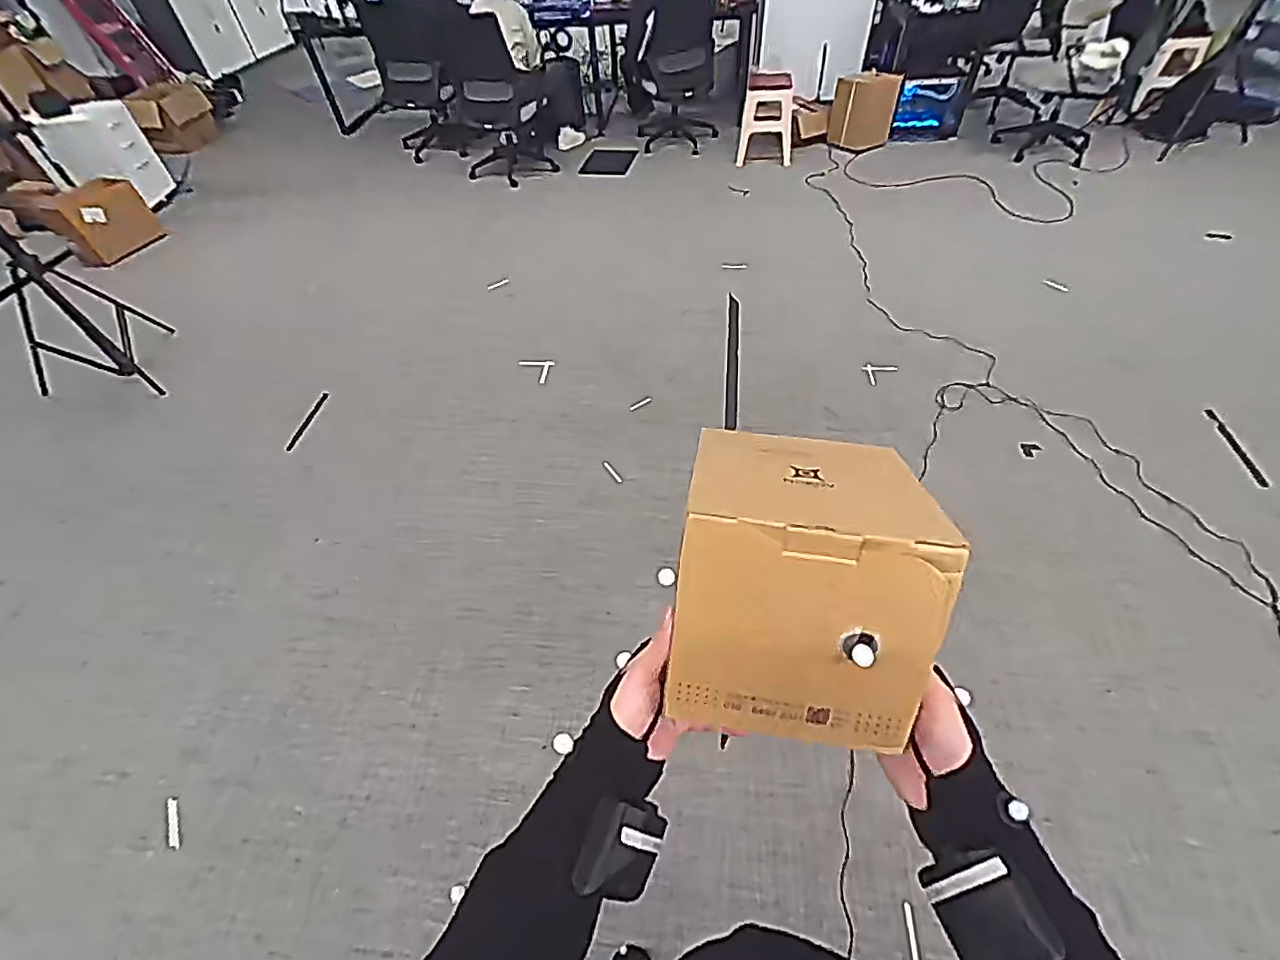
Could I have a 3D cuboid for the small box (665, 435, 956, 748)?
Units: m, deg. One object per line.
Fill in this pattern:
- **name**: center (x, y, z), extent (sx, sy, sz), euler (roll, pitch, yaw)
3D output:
- **small box**: center (0.115, 0.077, 0.431), extent (0.168, 0.176, 0.179), euler (8, 24, 6)
